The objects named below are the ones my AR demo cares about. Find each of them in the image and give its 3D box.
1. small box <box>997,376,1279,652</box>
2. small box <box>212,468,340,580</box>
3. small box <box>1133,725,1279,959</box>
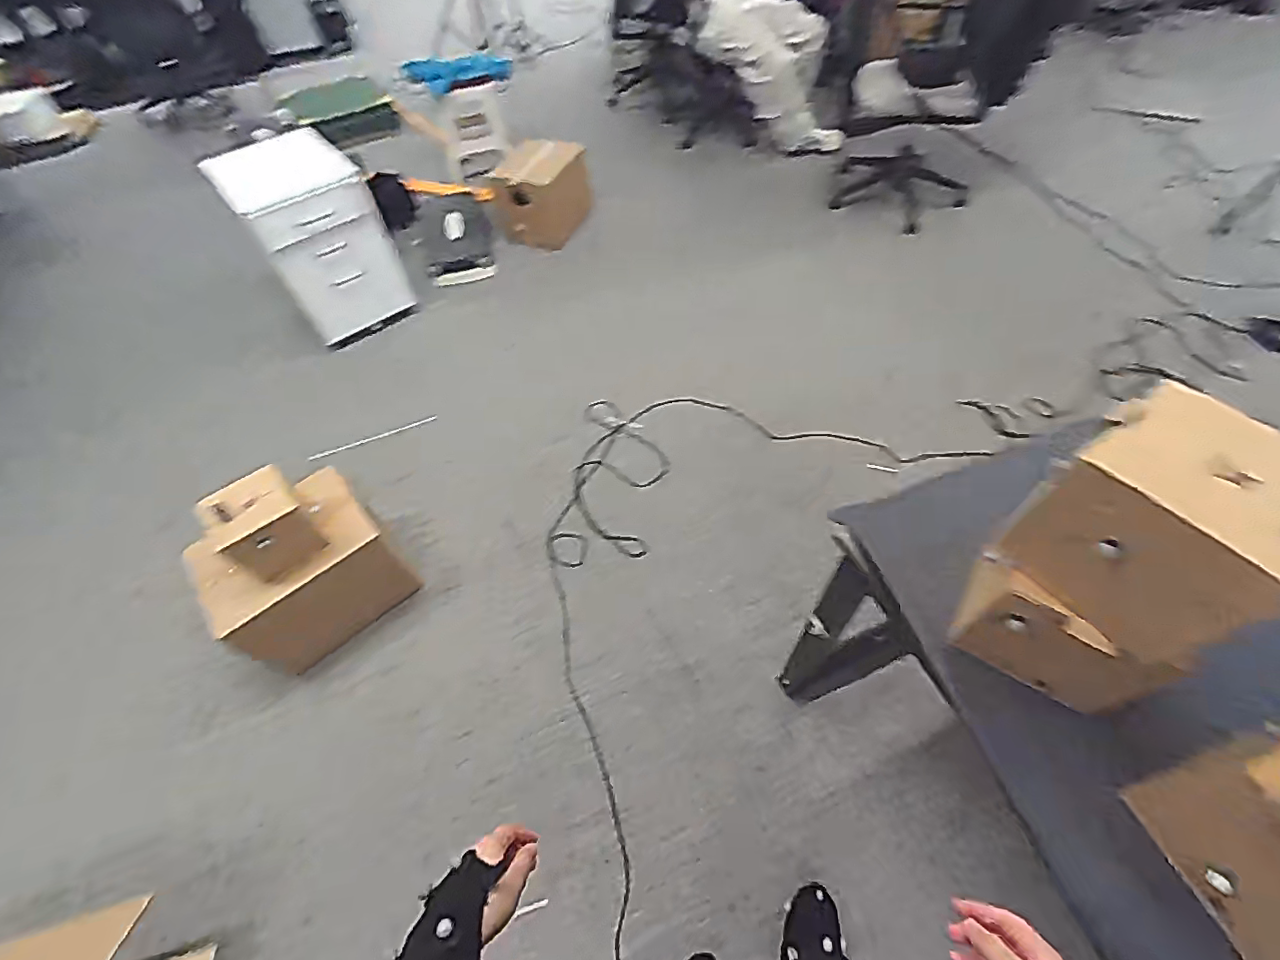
[{"bbox_3d":[0.507,0.036,0.535,0.168,0.176,0.179,-31,57,-18],"label":"small box"},{"bbox_3d":[-0.875,0.112,1.312,0.179,0.176,0.168,-35,61,-20],"label":"small box"},{"bbox_3d":[0.643,0.334,0.509,0.179,0.176,0.168,-17,53,-9],"label":"small box"}]
